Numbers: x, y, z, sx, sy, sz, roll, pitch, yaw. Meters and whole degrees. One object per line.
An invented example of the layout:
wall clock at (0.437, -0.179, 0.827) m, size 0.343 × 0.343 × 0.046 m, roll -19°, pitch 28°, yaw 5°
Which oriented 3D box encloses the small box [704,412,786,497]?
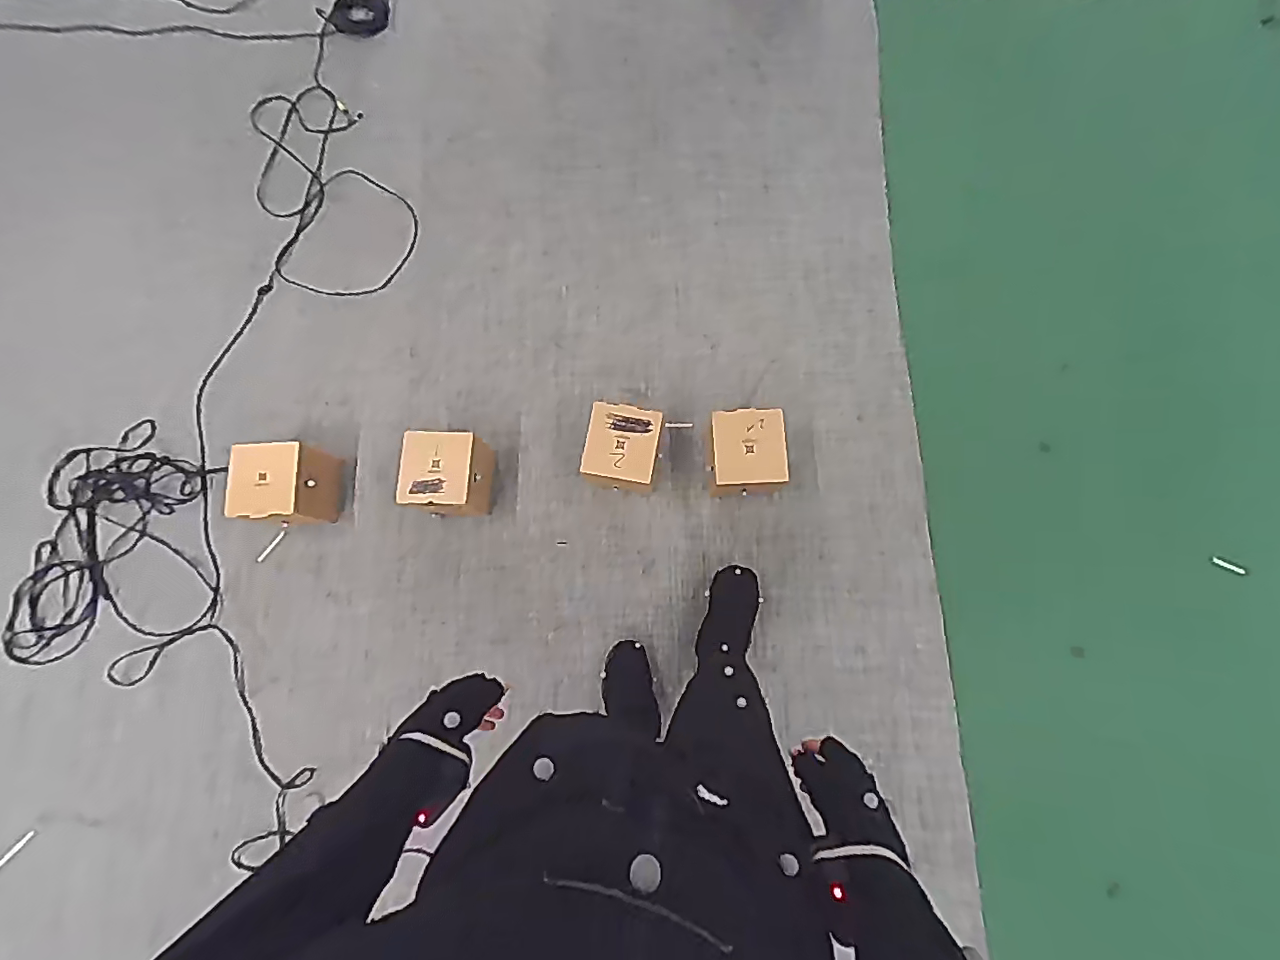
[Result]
small box at (0.249, -0.054, 1.313) m, size 0.168 × 0.176 × 0.179 m, roll -2°, pitch 78°, yaw 0°

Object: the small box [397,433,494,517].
small box at (-0.468, -0.006, 1.327) m, size 0.168 × 0.176 × 0.179 m, roll 2°, pitch 78°, yaw 3°

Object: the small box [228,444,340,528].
small box at (-0.870, 0.020, 1.339) m, size 0.168 × 0.176 × 0.179 m, roll -3°, pitch 79°, yaw 2°
